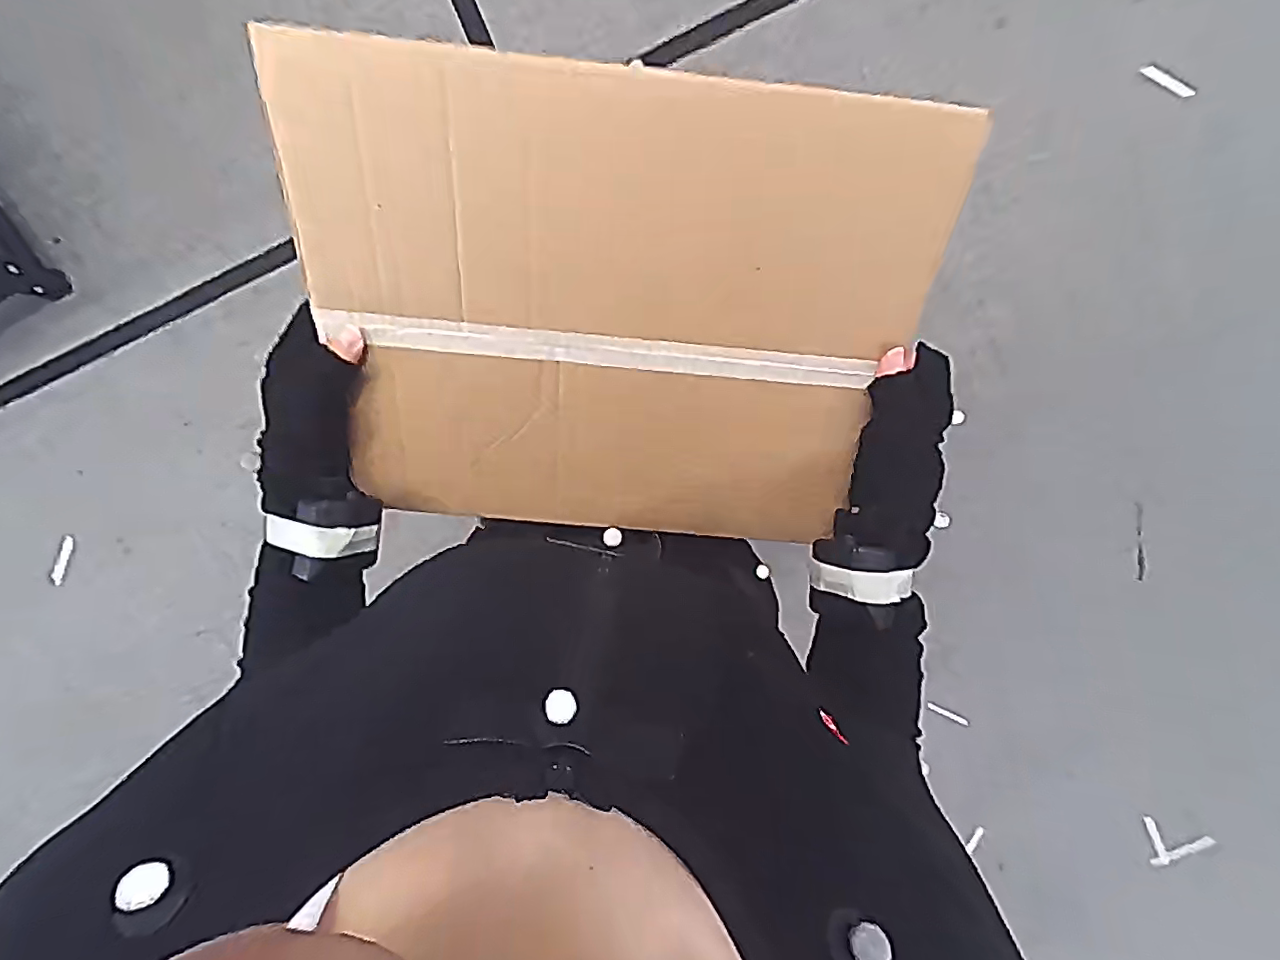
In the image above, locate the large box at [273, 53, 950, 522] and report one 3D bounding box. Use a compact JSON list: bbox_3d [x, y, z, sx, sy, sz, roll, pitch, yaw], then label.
[{"bbox_3d":[-0.020,-0.183,0.517,0.408,0.320,0.320,4,122,-2],"label":"large box"}]
